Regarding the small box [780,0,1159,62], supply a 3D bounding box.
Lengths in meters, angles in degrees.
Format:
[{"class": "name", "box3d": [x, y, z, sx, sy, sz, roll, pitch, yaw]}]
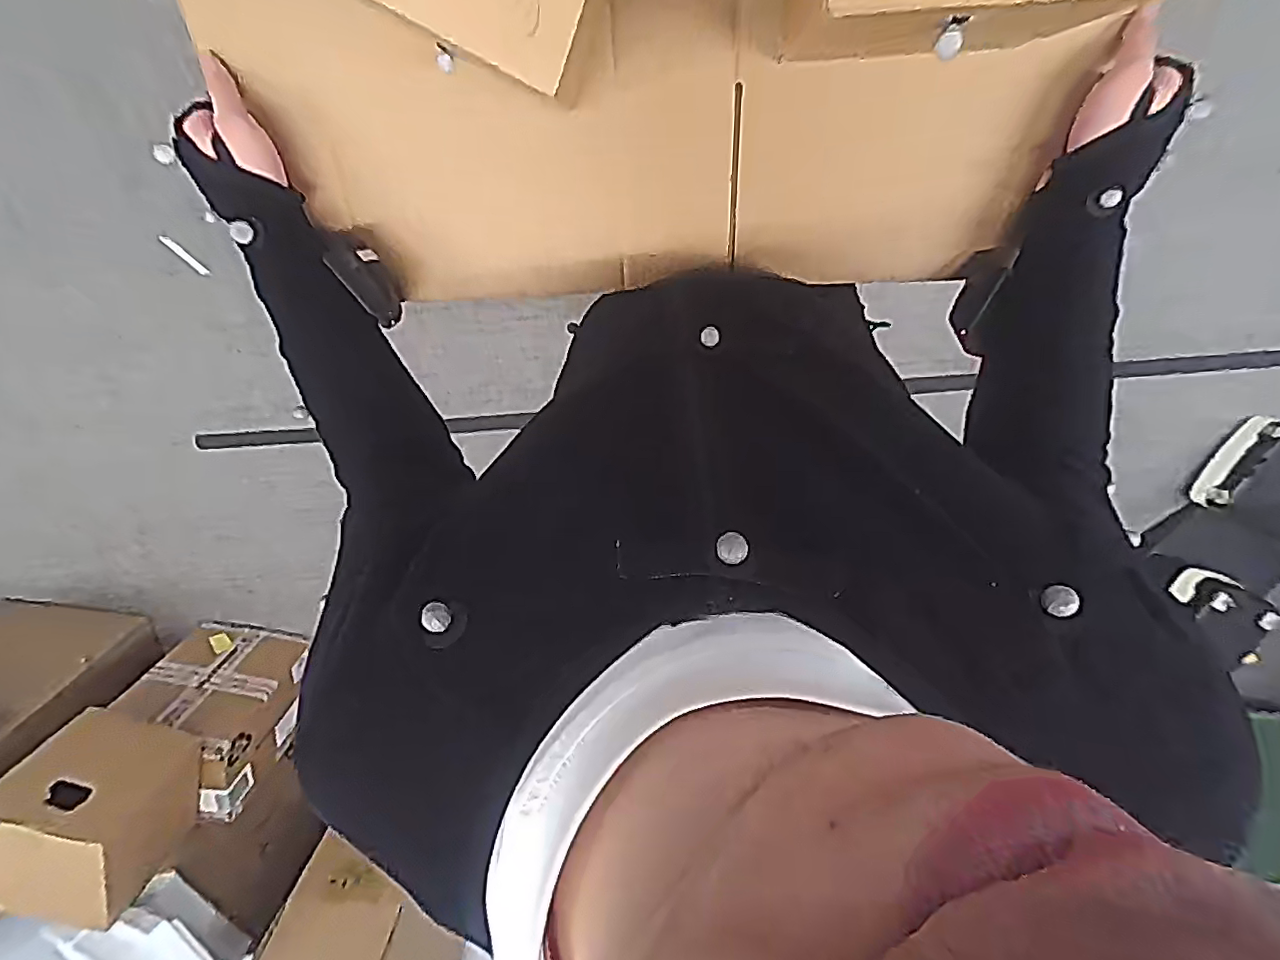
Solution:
[{"class": "small box", "box3d": [0.188, -0.357, 0.312, 0.179, 0.176, 0.168, 1, 121, 6]}]
